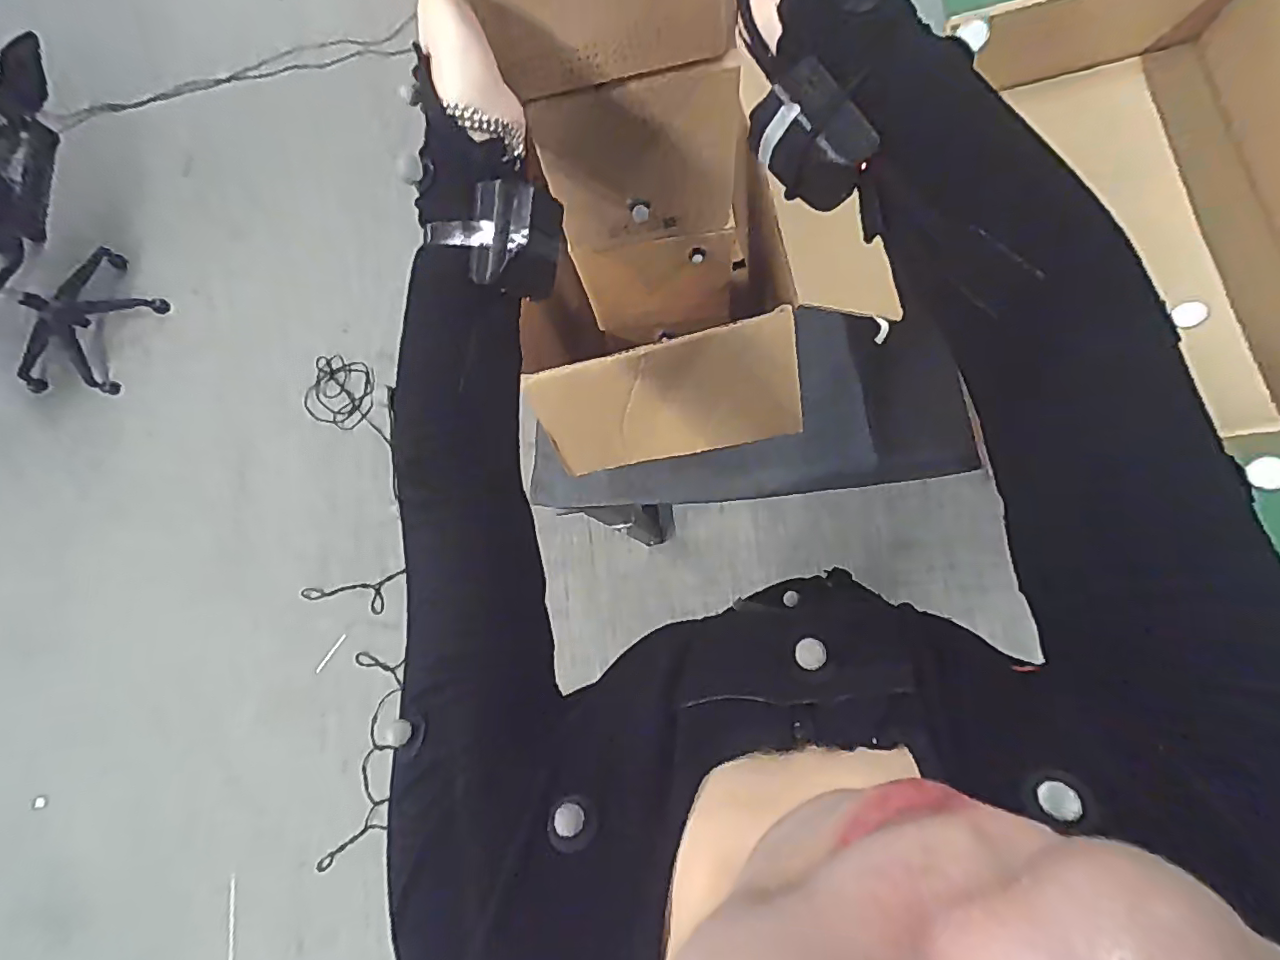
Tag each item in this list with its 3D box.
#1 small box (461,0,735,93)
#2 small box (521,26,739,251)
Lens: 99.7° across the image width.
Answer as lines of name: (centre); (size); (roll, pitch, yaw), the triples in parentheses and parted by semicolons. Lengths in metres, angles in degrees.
small box: (-0.040, -0.382, 0.328); (0.179, 0.176, 0.168); (-9, 79, 7)
small box: (-0.010, -0.348, 0.497); (0.168, 0.176, 0.179); (-9, 75, 4)
